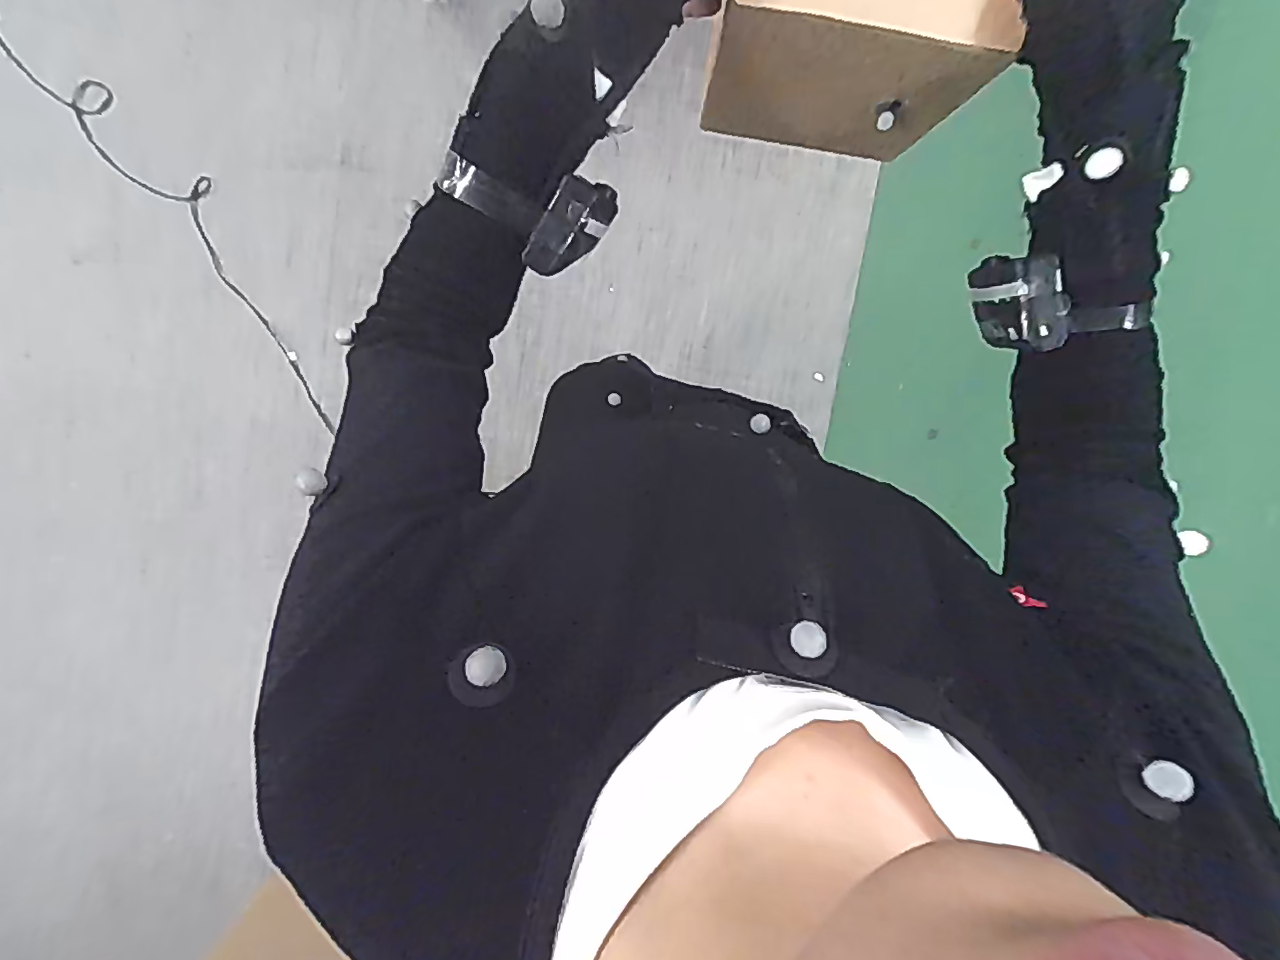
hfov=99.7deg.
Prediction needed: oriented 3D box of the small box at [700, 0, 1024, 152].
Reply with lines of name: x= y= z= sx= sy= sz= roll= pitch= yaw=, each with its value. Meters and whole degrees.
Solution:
small box: x=0.146 y=-0.359 z=0.381 sx=0.179 sy=0.176 sz=0.168 roll=8 pitch=100 yaw=0
